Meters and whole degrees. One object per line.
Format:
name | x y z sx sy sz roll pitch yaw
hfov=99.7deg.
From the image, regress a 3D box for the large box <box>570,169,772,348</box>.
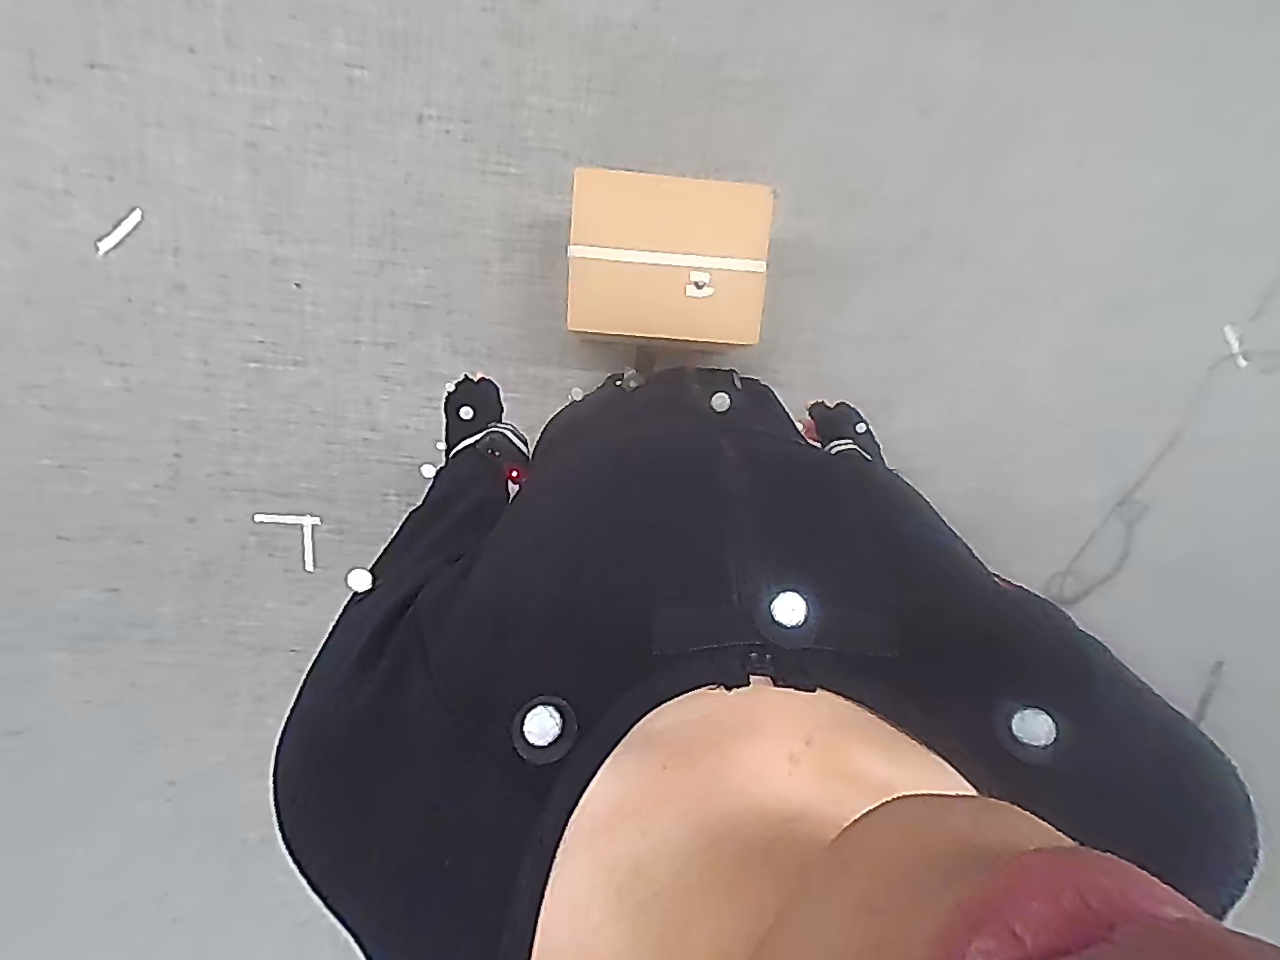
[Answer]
large box | 0.049 -0.480 1.246 0.408 0.320 0.320 3 101 -4
